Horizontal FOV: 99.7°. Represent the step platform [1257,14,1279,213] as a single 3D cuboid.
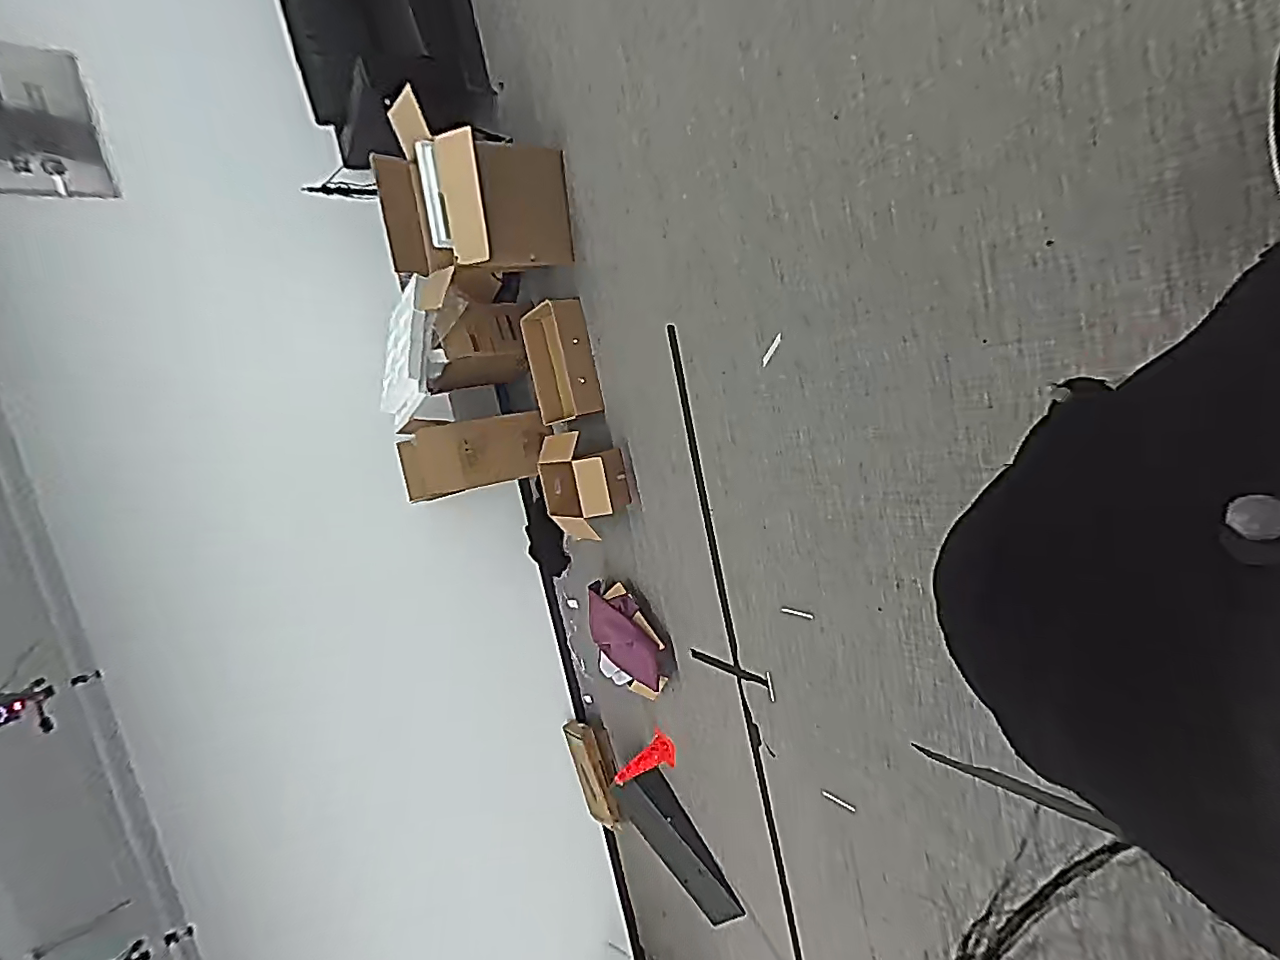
[{"bbox_3d":[1.065,-0.487,0.468,0.684,0.204,0.286,-4,100,56],"label":"step platform"}]
